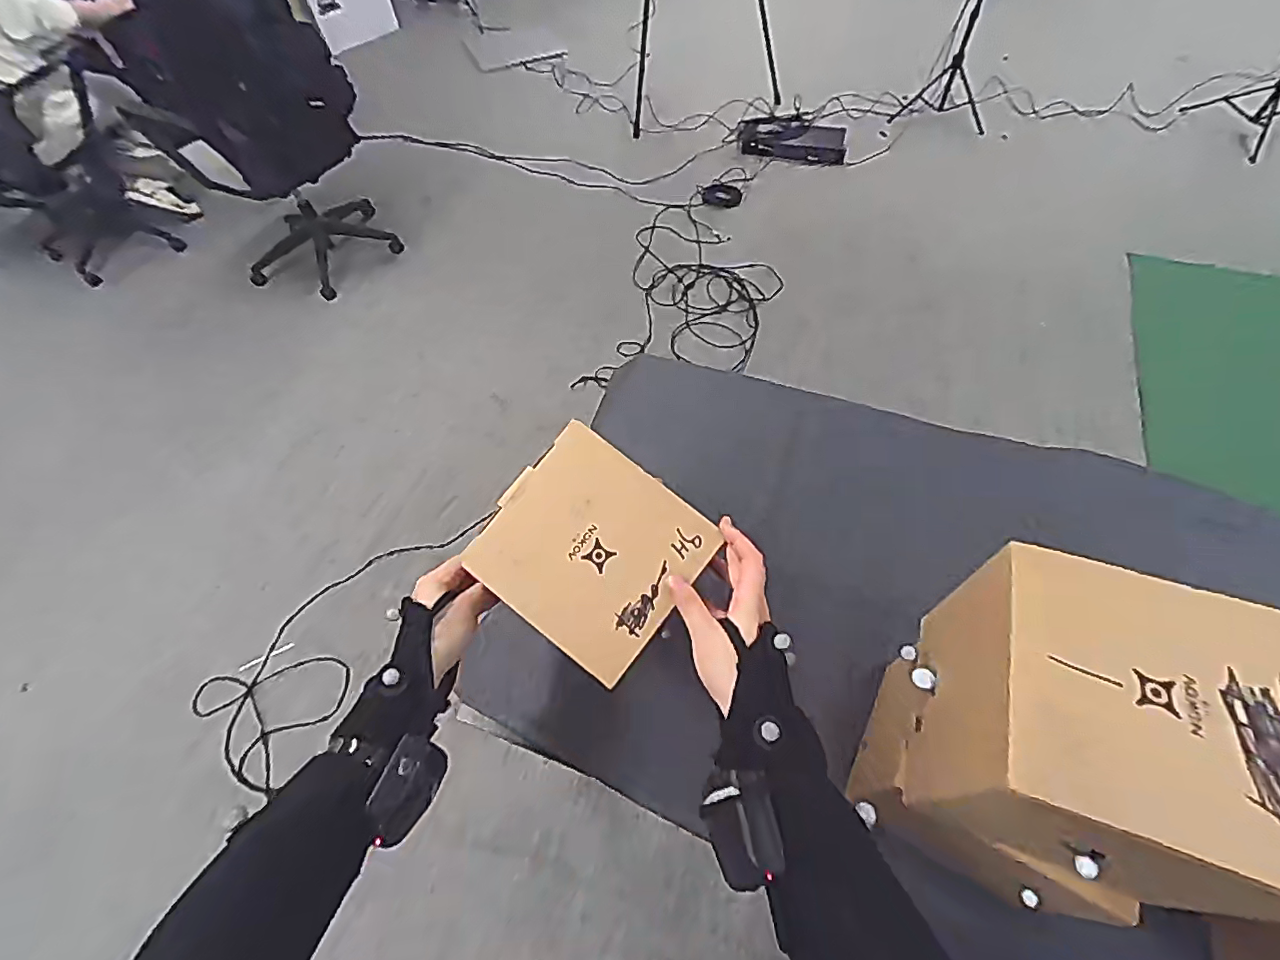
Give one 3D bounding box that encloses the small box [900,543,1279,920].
[{"bbox_3d":[0.311,0.173,0.383,0.179,0.176,0.168,16,59,15],"label":"small box"}]
